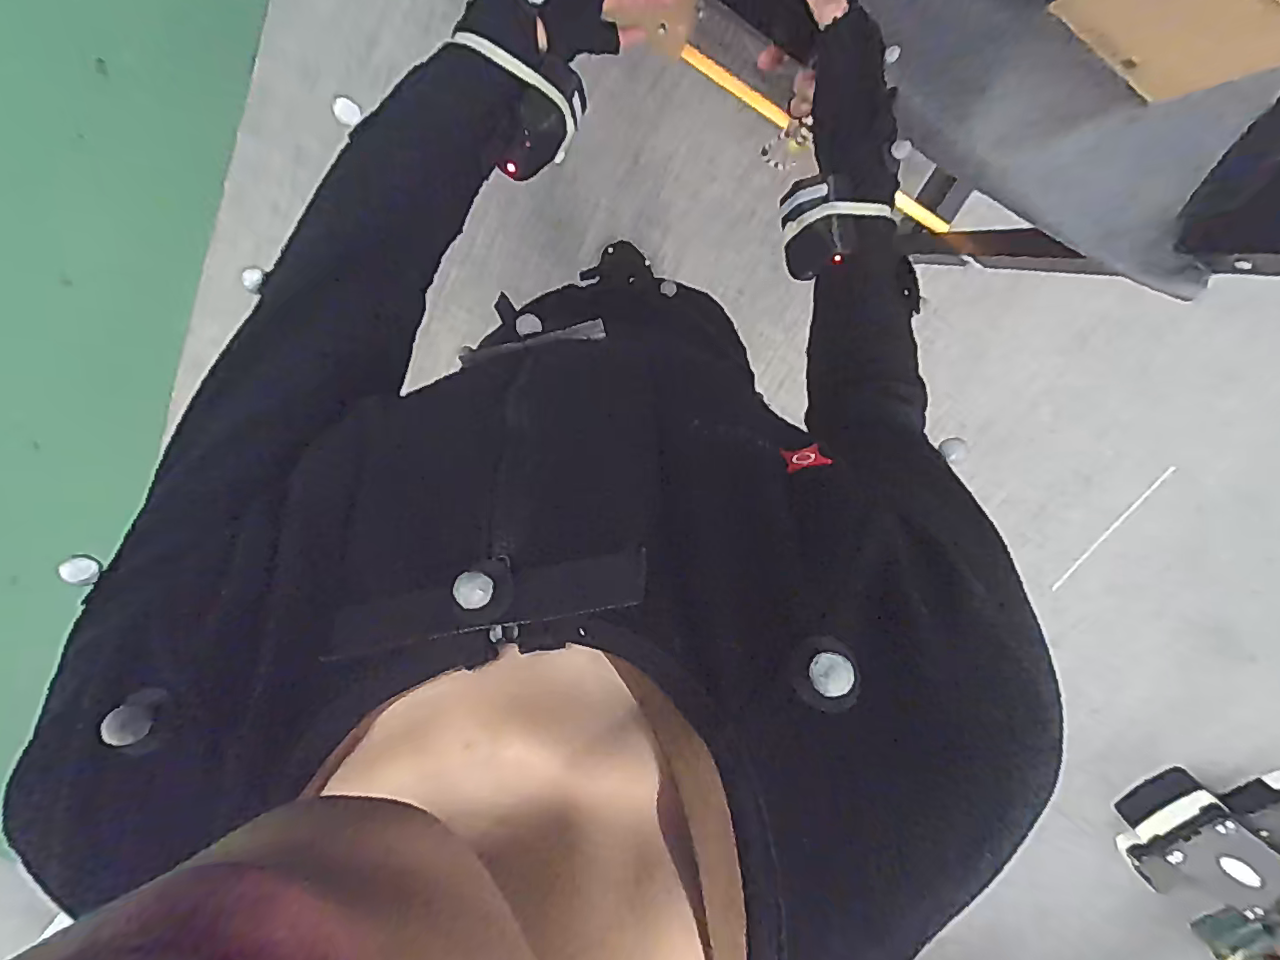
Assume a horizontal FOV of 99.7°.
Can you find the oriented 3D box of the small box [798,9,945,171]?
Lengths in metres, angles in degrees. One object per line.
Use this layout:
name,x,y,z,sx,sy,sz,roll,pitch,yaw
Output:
small box,0.422,-0.720,1.027,0.168,0.176,0.179,30,110,-13
